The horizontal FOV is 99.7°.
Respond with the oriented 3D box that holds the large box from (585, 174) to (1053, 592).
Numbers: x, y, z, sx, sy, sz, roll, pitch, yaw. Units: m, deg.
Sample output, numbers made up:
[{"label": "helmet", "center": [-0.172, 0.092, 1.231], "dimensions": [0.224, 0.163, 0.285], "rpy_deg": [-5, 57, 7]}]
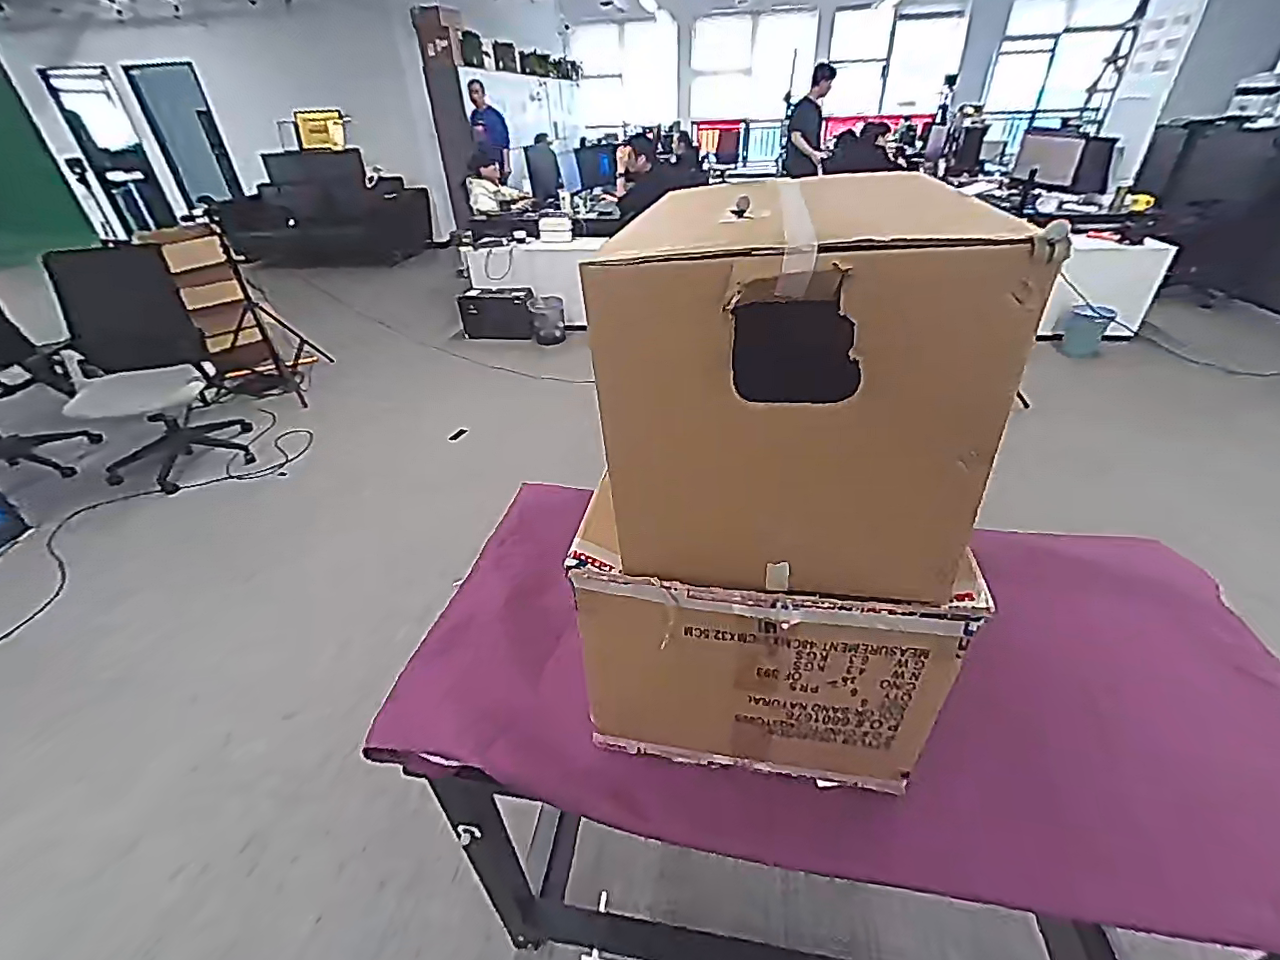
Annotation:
[{"label": "large box", "center": [0.155, -0.134, 0.605], "dimensions": [0.320, 0.320, 0.408], "rpy_deg": [1, 35, 13]}]
